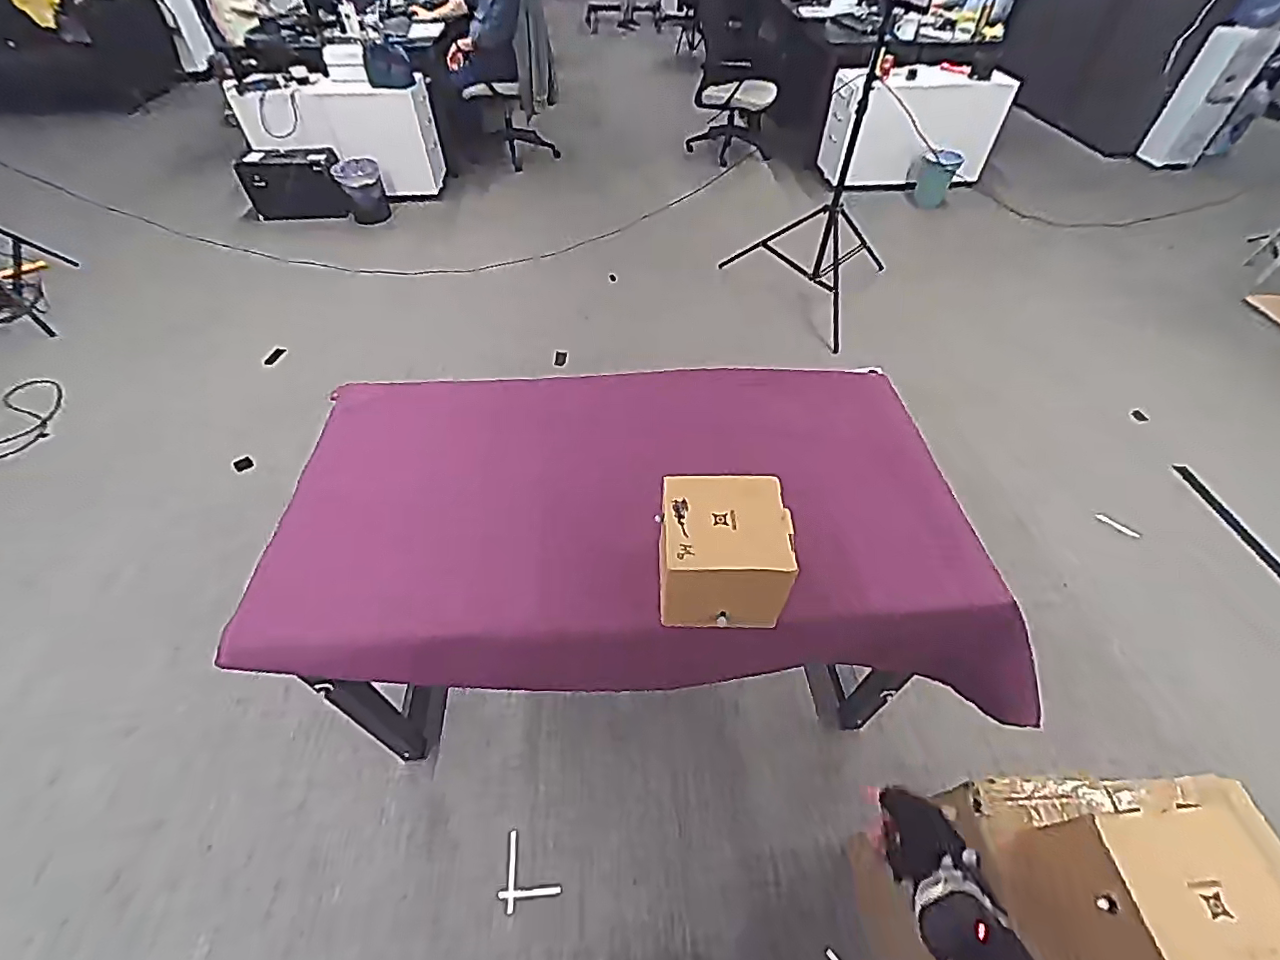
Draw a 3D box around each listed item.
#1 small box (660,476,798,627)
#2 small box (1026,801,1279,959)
[{"bbox_3d":[0.122,0.112,0.825,0.179,0.176,0.168,1,48,0],"label":"small box"},{"bbox_3d":[0.606,0.495,0.631,0.168,0.176,0.179,-4,50,-1],"label":"small box"}]
